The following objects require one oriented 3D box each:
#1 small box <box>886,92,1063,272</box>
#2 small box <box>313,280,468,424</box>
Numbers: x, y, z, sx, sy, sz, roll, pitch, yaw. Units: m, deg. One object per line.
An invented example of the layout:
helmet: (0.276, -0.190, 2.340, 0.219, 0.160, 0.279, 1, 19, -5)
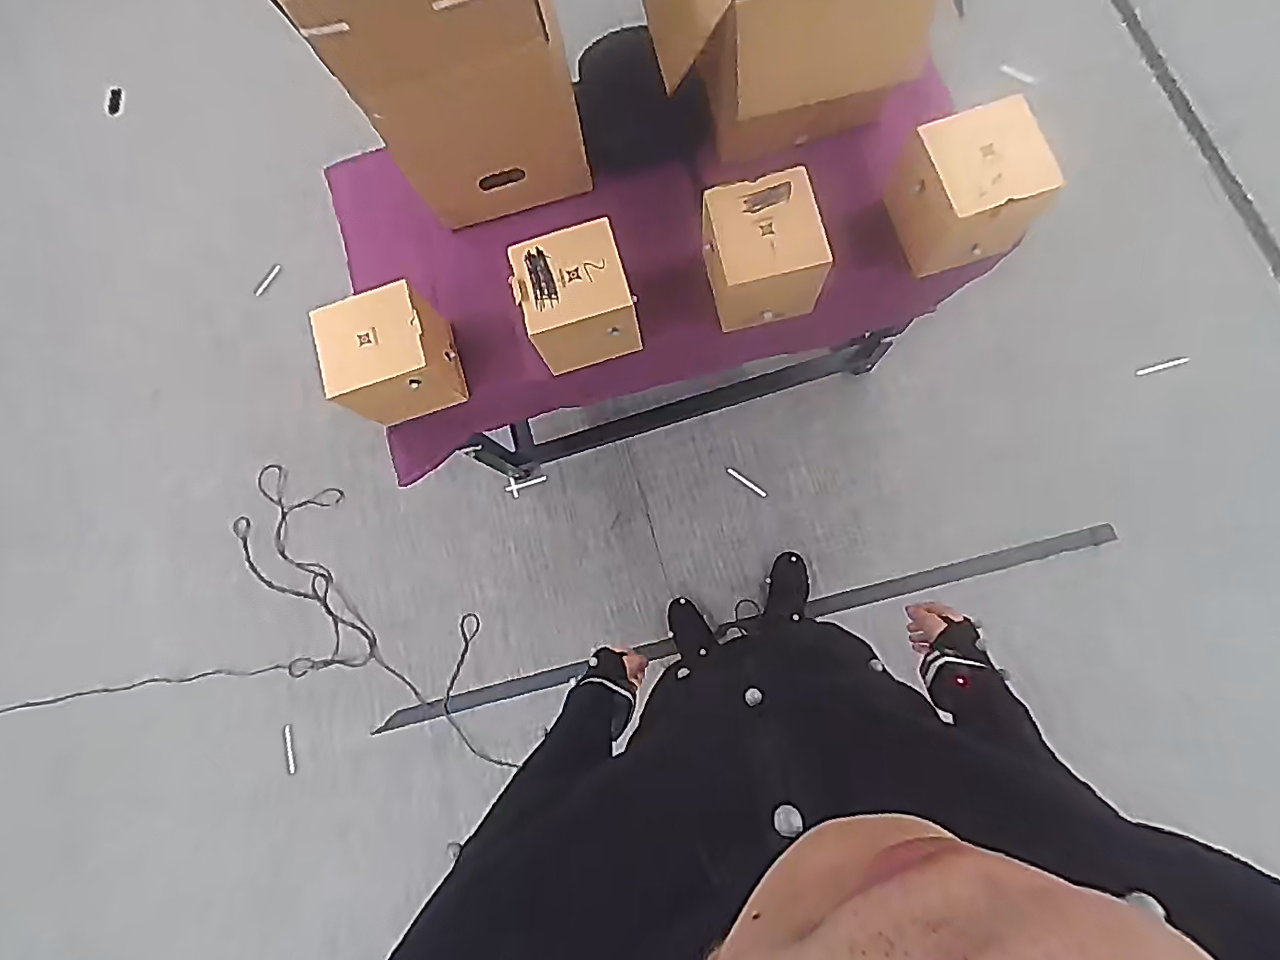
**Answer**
small box: (0.541, -0.487, 0.905, 0.168, 0.176, 0.179, -17, 79, 4)
small box: (-0.435, -0.217, 0.961, 0.179, 0.176, 0.168, -18, 78, 1)
